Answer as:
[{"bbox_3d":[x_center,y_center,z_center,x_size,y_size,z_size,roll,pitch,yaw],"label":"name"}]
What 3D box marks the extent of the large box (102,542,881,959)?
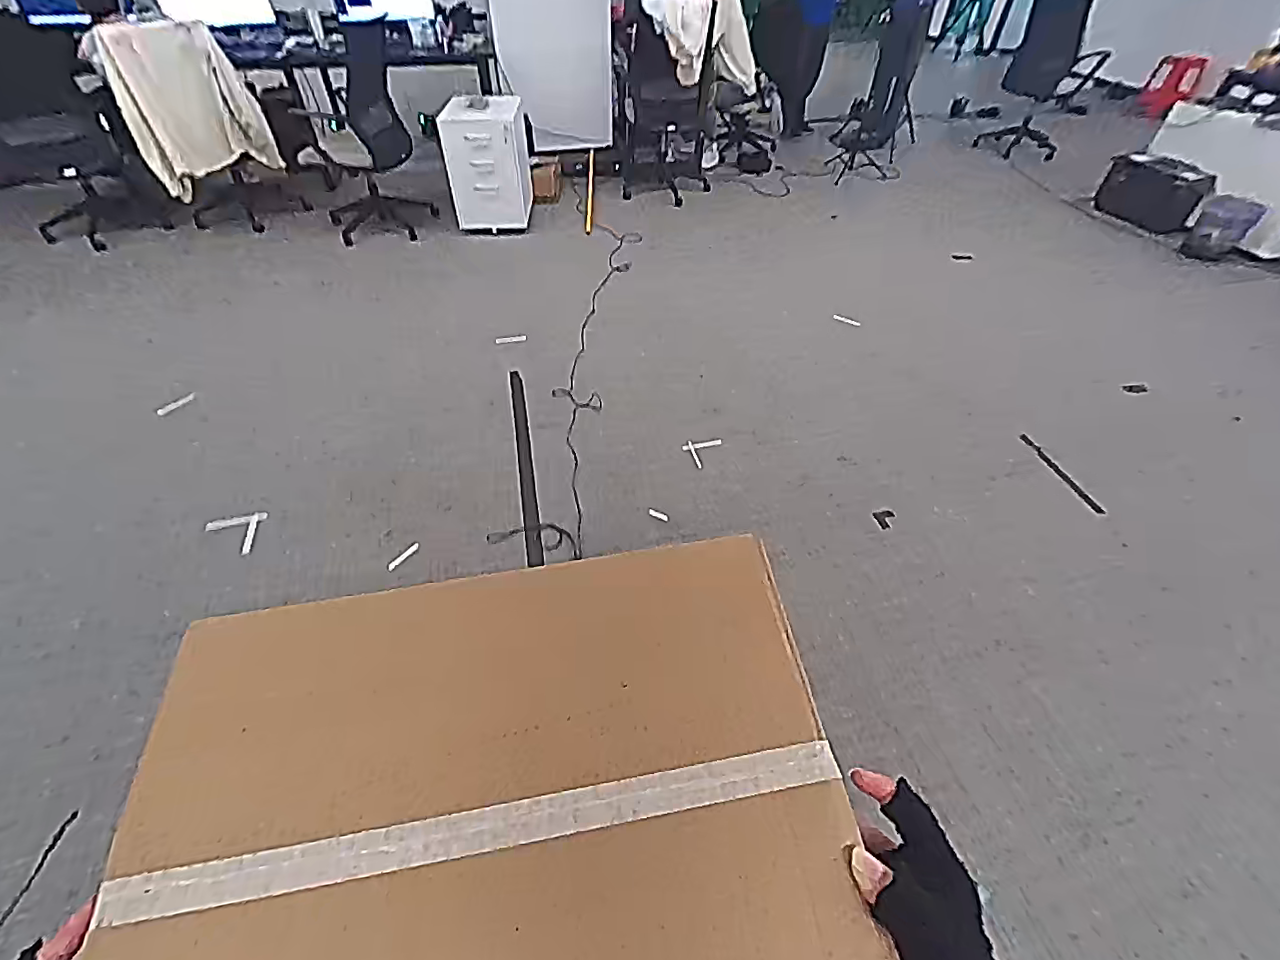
[{"bbox_3d":[-0.084,0.284,0.437,0.408,0.320,0.320,-8,54,-5],"label":"large box"}]
